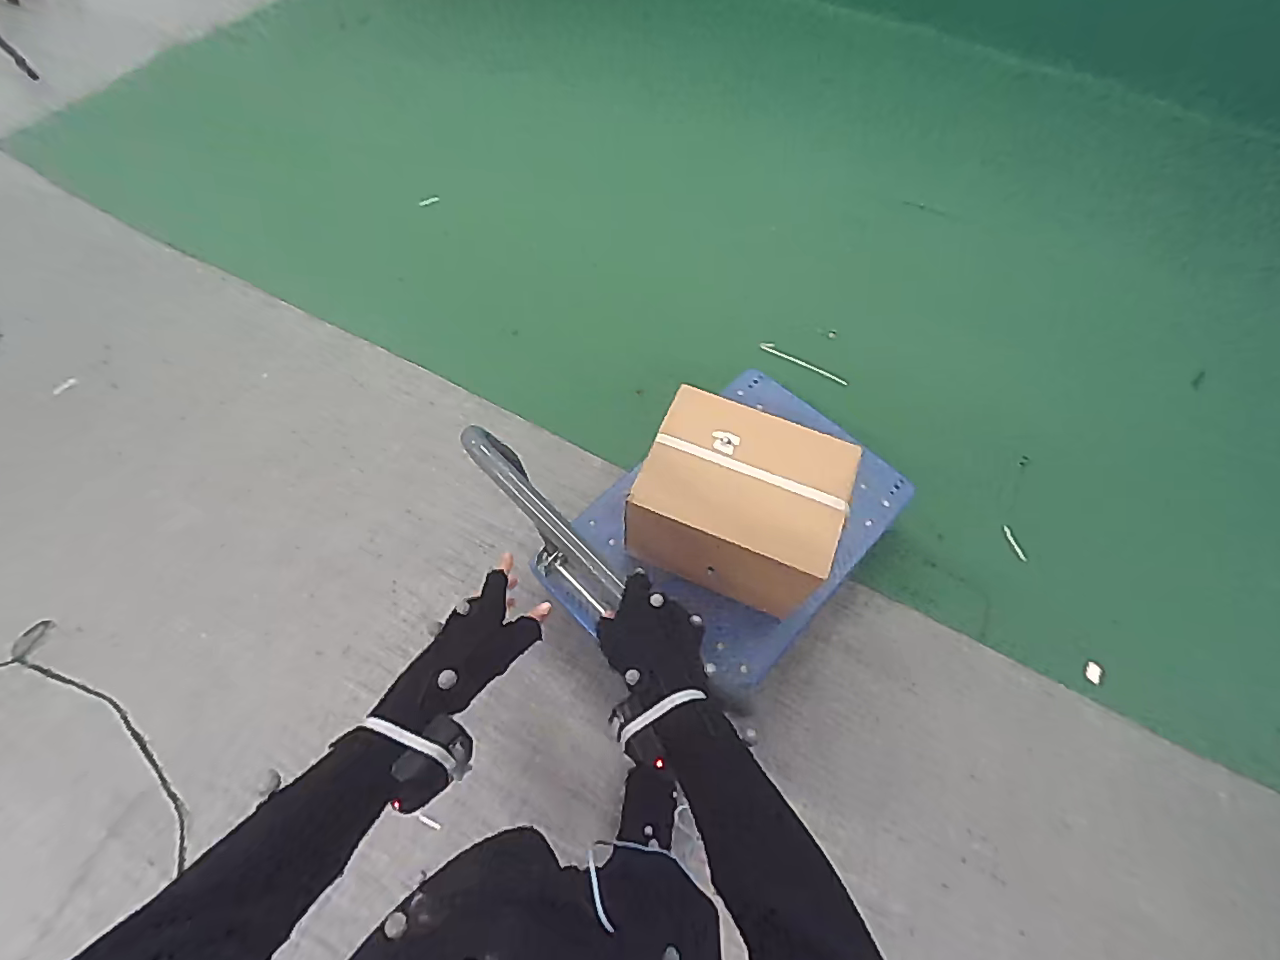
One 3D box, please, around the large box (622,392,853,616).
[{"bbox_3d":[0.206,0.064,1.229,0.408,0.320,0.320,22,63,11],"label":"large box"}]
